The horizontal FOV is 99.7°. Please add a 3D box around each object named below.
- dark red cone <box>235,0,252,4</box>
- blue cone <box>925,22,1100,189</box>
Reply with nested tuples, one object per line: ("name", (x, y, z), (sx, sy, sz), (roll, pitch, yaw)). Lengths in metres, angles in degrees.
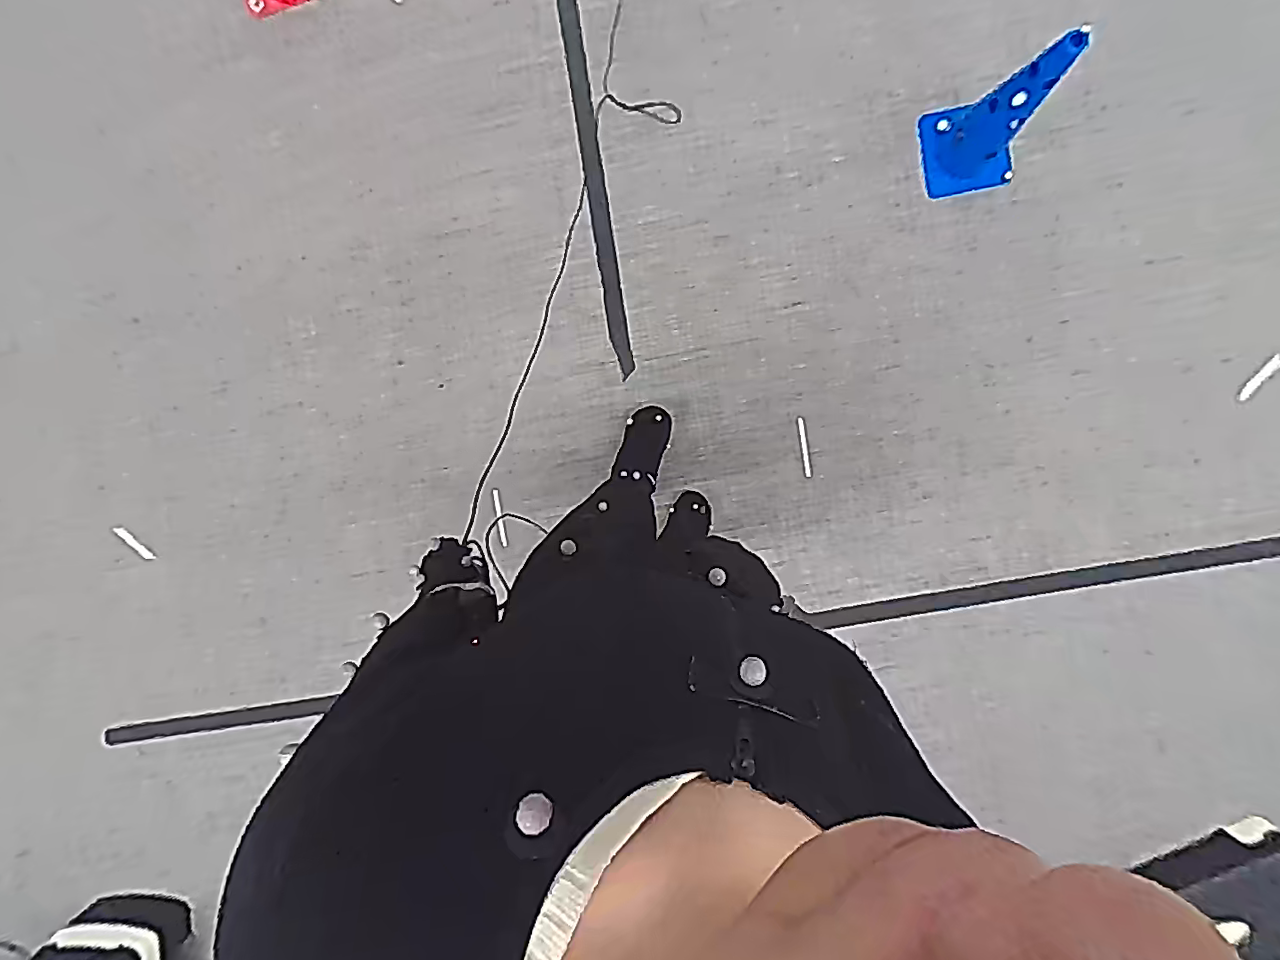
("dark red cone", (-0.923, -1.263, 1.144), (0.201, 0.394, 0.202), (-17, 92, 3))
("blue cone", (0.770, -0.781, 1.115), (0.192, 0.380, 0.193), (-9, 93, 2))
